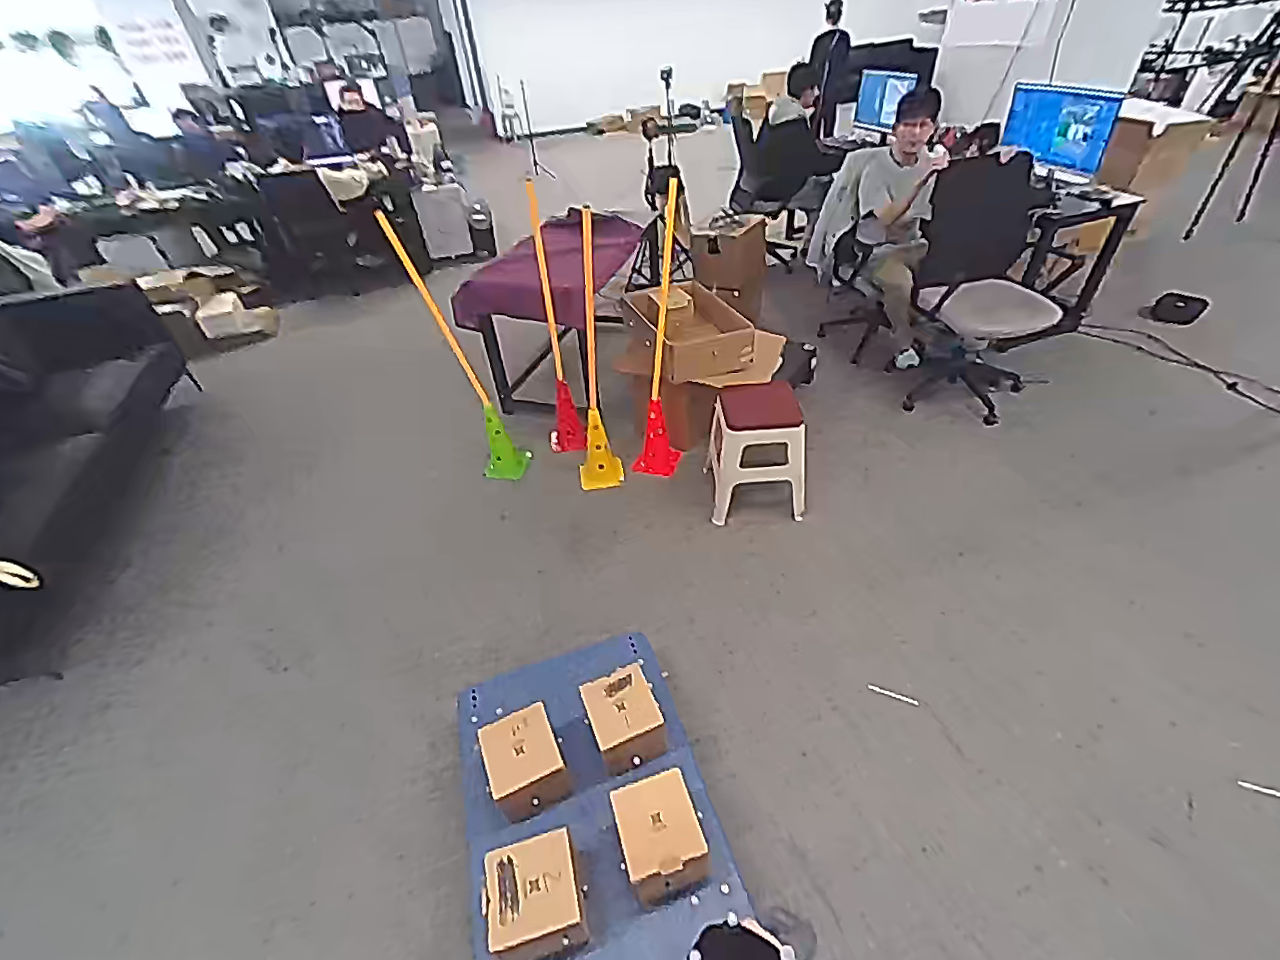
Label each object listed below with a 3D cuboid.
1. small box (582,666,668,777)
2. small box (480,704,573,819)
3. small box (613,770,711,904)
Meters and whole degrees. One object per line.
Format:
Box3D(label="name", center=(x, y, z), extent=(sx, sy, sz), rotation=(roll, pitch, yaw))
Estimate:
Box3D(label="small box", center=(-0.038, 0.617, 1.380), extent=(0.168, 0.176, 0.179), rotation=(-18, 43, -13))
Box3D(label="small box", center=(-0.274, 0.693, 1.318), extent=(0.168, 0.176, 0.179), rotation=(-19, 43, -16))
Box3D(label="small box", center=(0.046, 0.781, 1.184), extent=(0.168, 0.176, 0.179), rotation=(-15, 42, -11))
